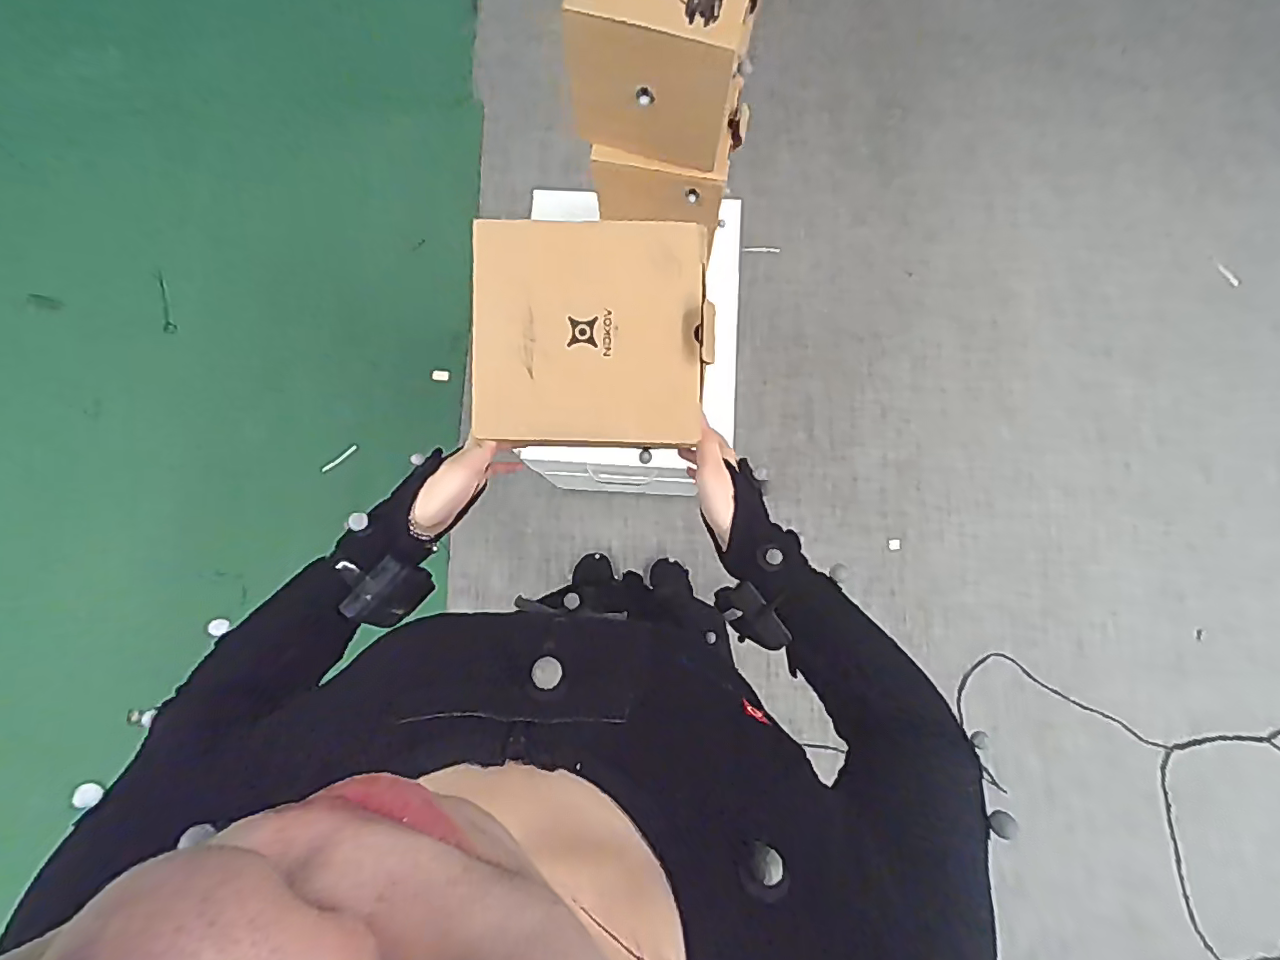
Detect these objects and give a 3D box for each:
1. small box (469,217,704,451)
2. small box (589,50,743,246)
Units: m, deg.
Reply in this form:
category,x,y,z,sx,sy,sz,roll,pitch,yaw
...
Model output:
category,x,y,z,sx,sy,sz,roll,pitch,yaw
small box,-0.039,-0.114,0.484,0.179,0.176,0.168,1,90,2
small box,0.034,-0.453,0.767,0.179,0.176,0.168,10,82,1
